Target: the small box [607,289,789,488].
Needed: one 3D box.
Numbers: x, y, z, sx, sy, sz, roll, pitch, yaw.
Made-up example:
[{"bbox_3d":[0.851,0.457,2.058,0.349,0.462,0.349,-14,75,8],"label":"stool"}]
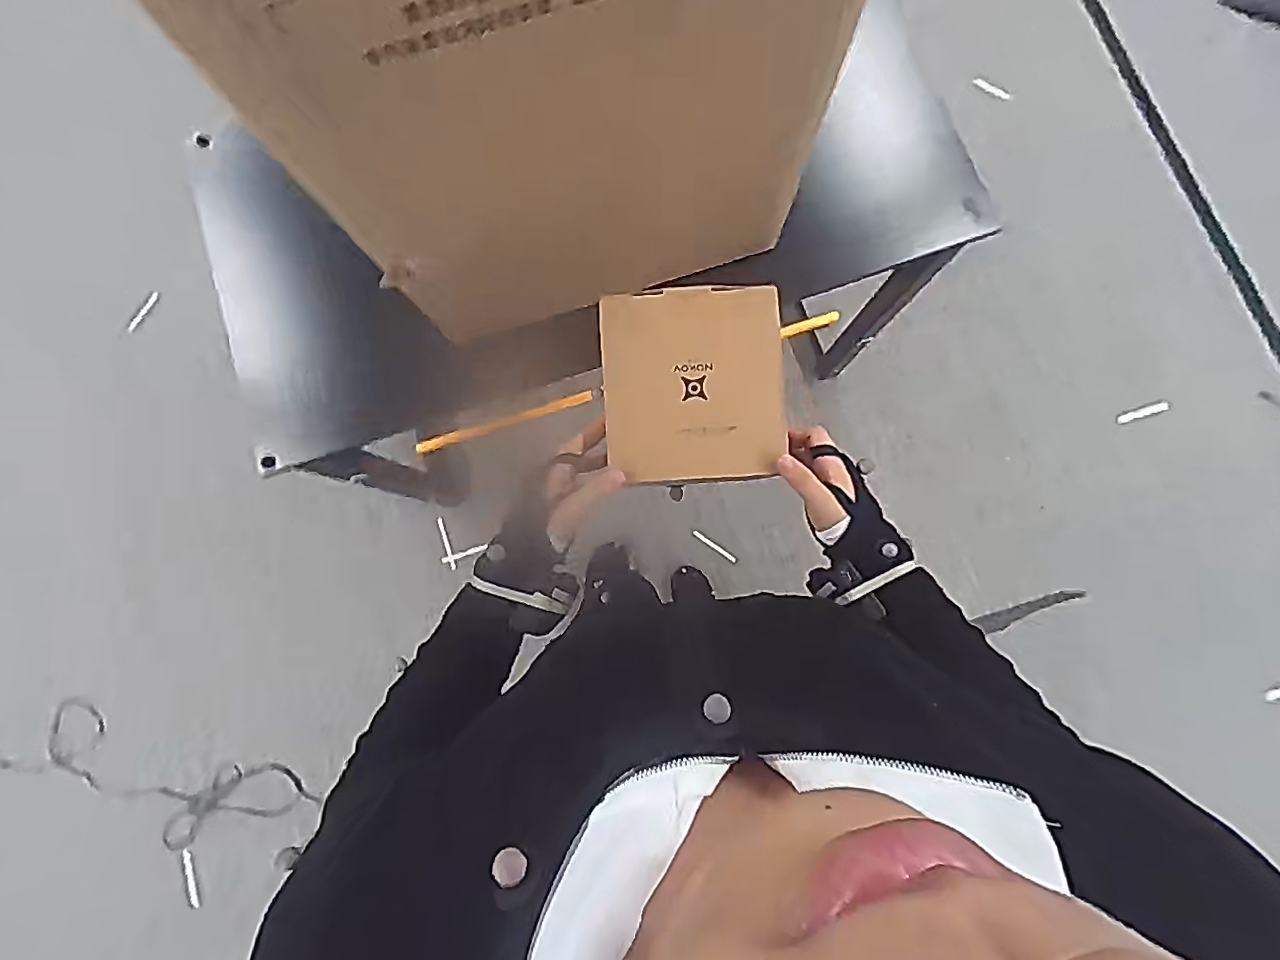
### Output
[{"bbox_3d":[0.050,-0.083,0.571,0.168,0.176,0.179,-2,88,-1],"label":"small box"}]
